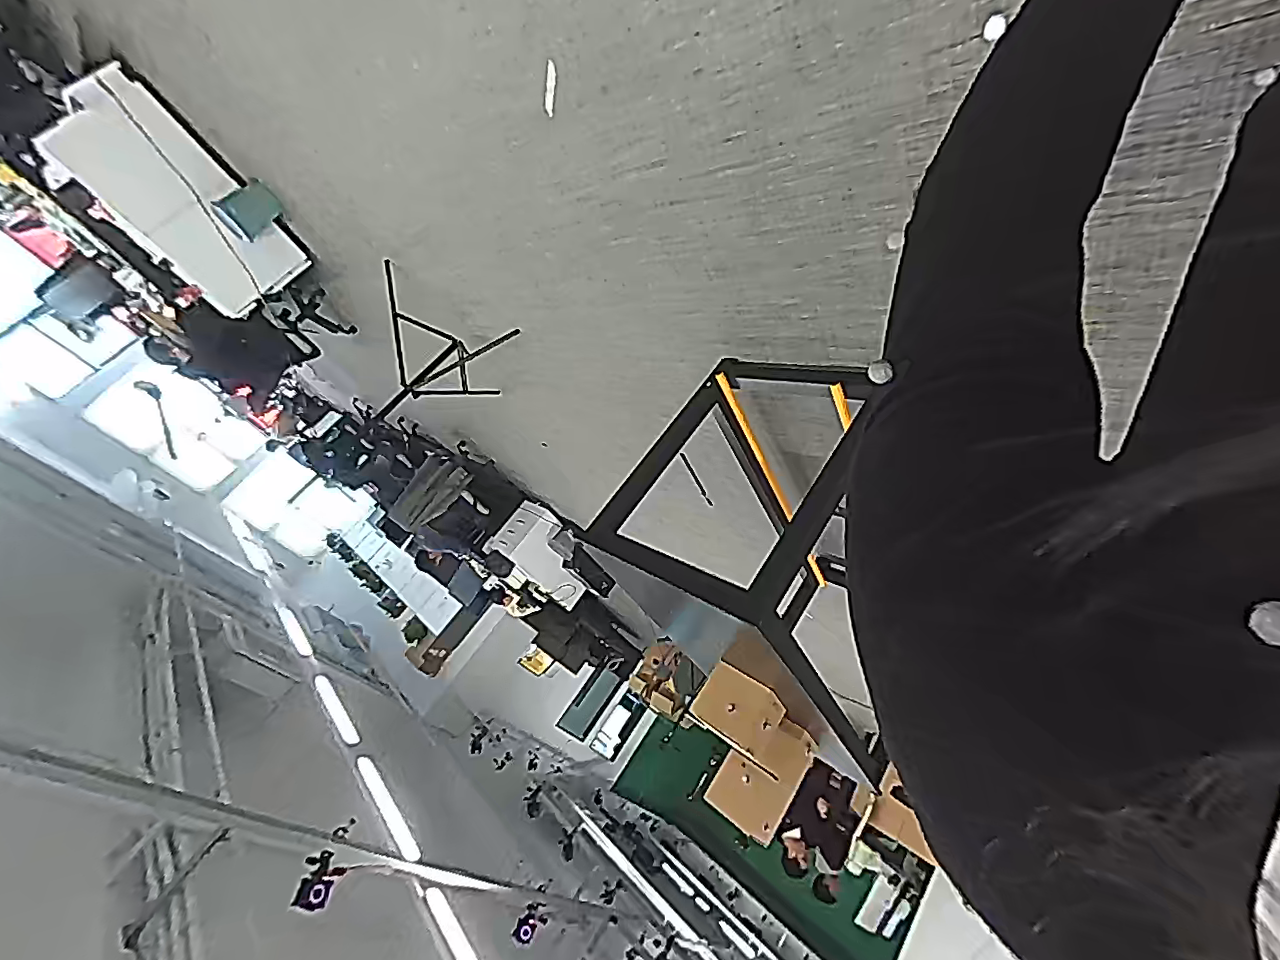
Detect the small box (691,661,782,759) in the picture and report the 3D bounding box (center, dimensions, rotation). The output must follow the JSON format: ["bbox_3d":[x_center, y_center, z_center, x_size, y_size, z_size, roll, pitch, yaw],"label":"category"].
[{"bbox_3d":[0.278,0.637,1.513,0.179,0.176,0.168,19,154,42],"label":"small box"}]

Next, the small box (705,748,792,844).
[{"bbox_3d":[0.333,0.949,1.632,0.168,0.176,0.179,17,152,47],"label":"small box"}]

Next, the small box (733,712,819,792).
[{"bbox_3d":[0.427,0.825,1.686,0.179,0.176,0.168,16,153,45],"label":"small box"}]
